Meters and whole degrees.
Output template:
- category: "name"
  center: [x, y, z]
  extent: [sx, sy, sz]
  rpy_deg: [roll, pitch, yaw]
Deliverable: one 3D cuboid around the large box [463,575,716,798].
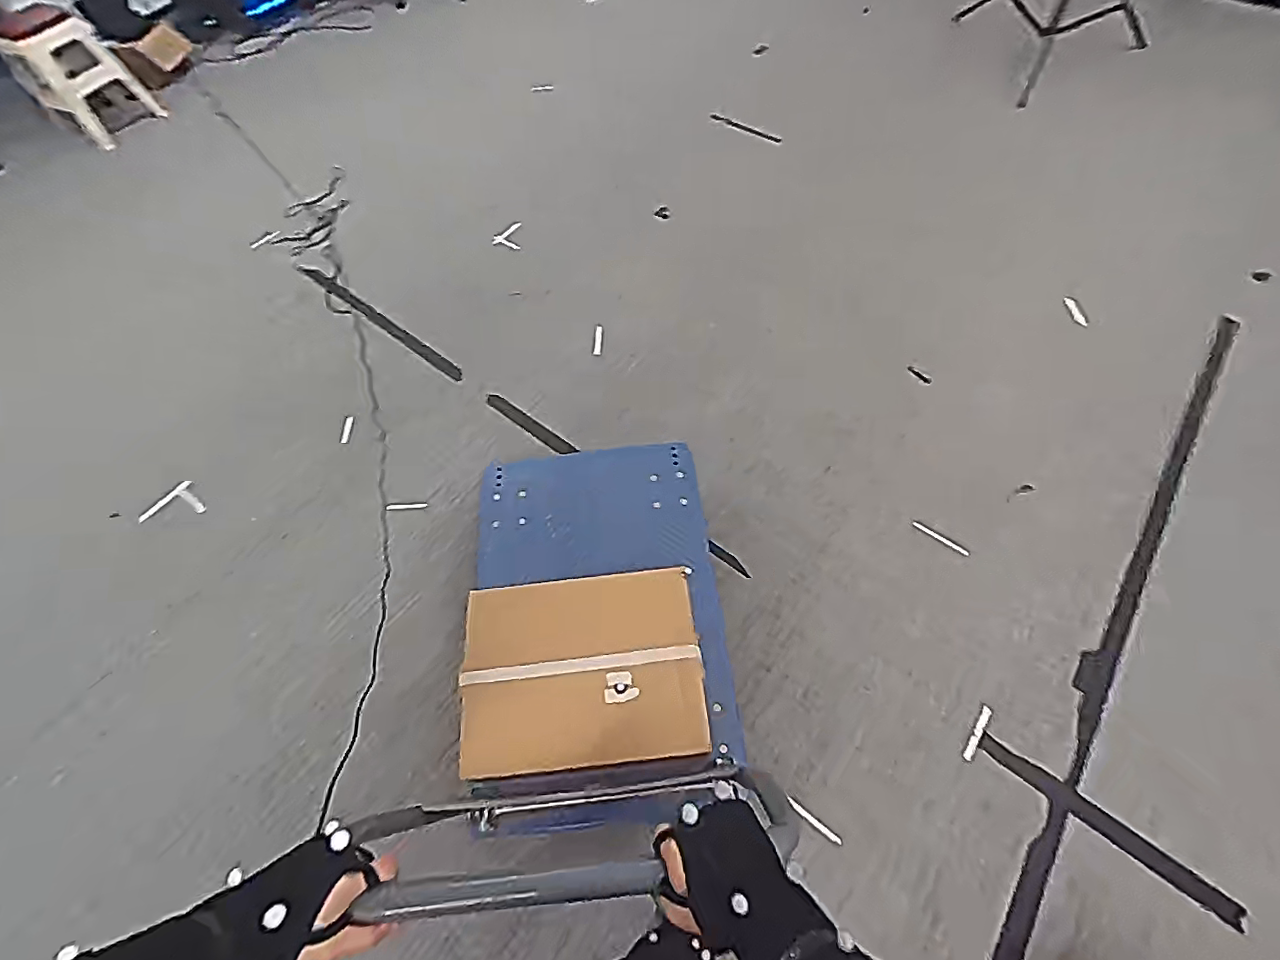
- category: "large box"
  center: [-0.088, 0.404, 1.032]
  extent: [0.408, 0.320, 0.320]
  rpy_deg: [-6, 60, -1]
